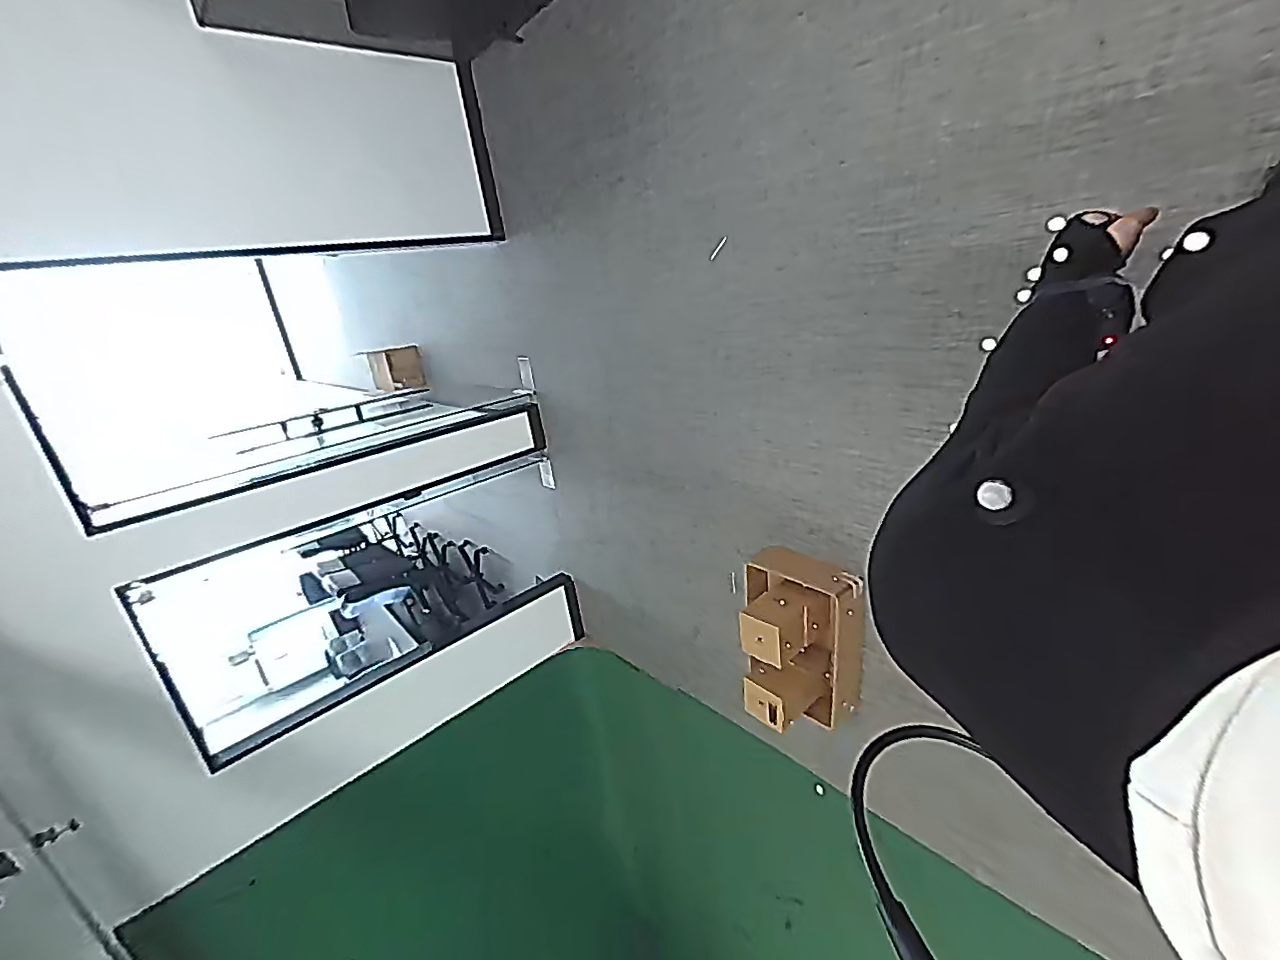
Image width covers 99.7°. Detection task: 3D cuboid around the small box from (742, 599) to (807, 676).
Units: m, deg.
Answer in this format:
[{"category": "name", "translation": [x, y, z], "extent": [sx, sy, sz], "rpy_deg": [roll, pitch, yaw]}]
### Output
[{"category": "small box", "translation": [0.487, 0.558, 1.944], "extent": [0.168, 0.176, 0.179], "rpy_deg": [13, 118, 46]}]
